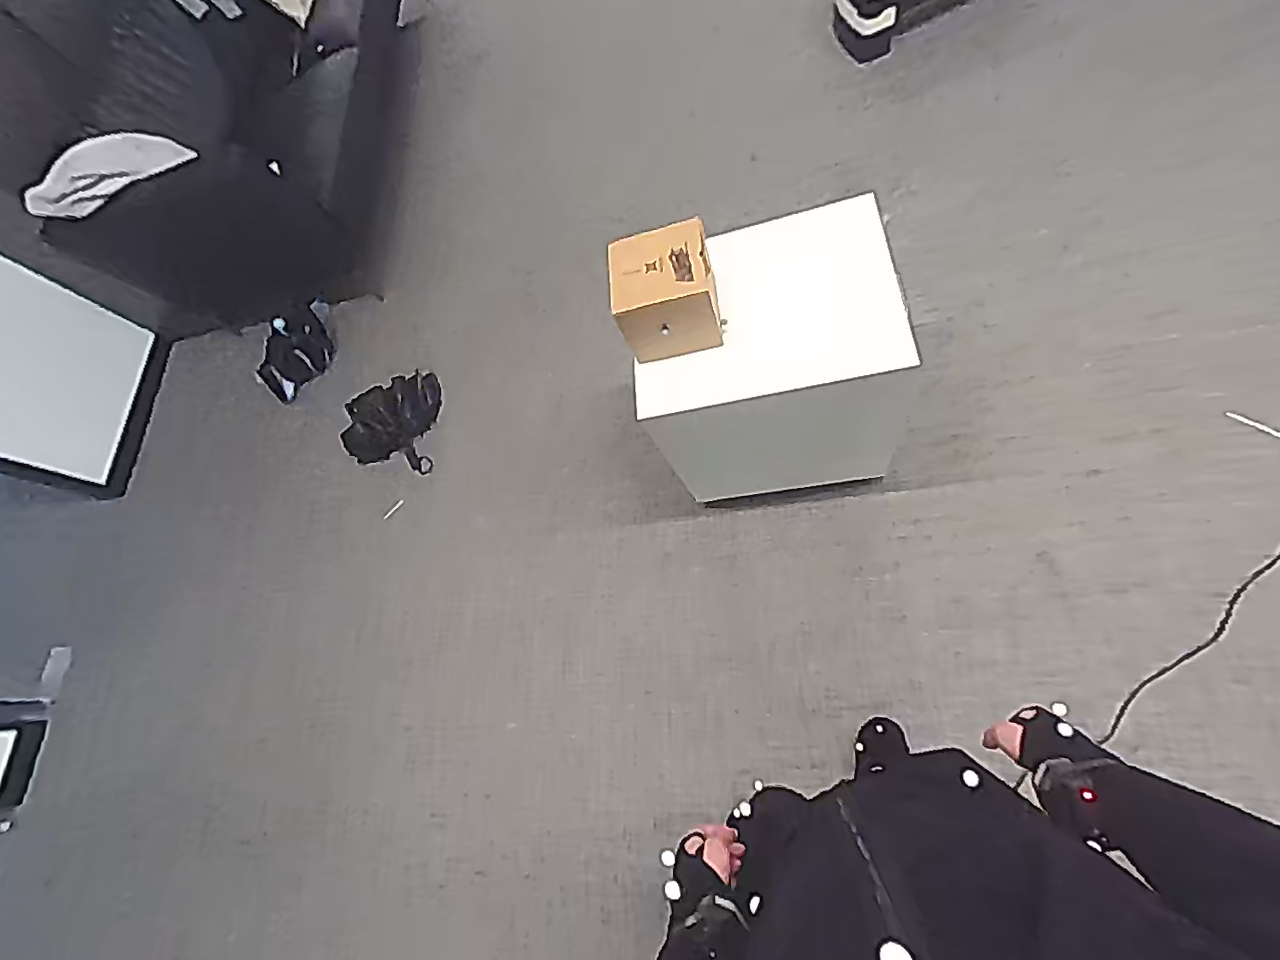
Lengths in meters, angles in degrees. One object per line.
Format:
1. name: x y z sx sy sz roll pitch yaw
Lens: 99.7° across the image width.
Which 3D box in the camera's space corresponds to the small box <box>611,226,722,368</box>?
1. small box: 0.056 -0.338 1.027 0.179 0.176 0.168 -10 67 16
